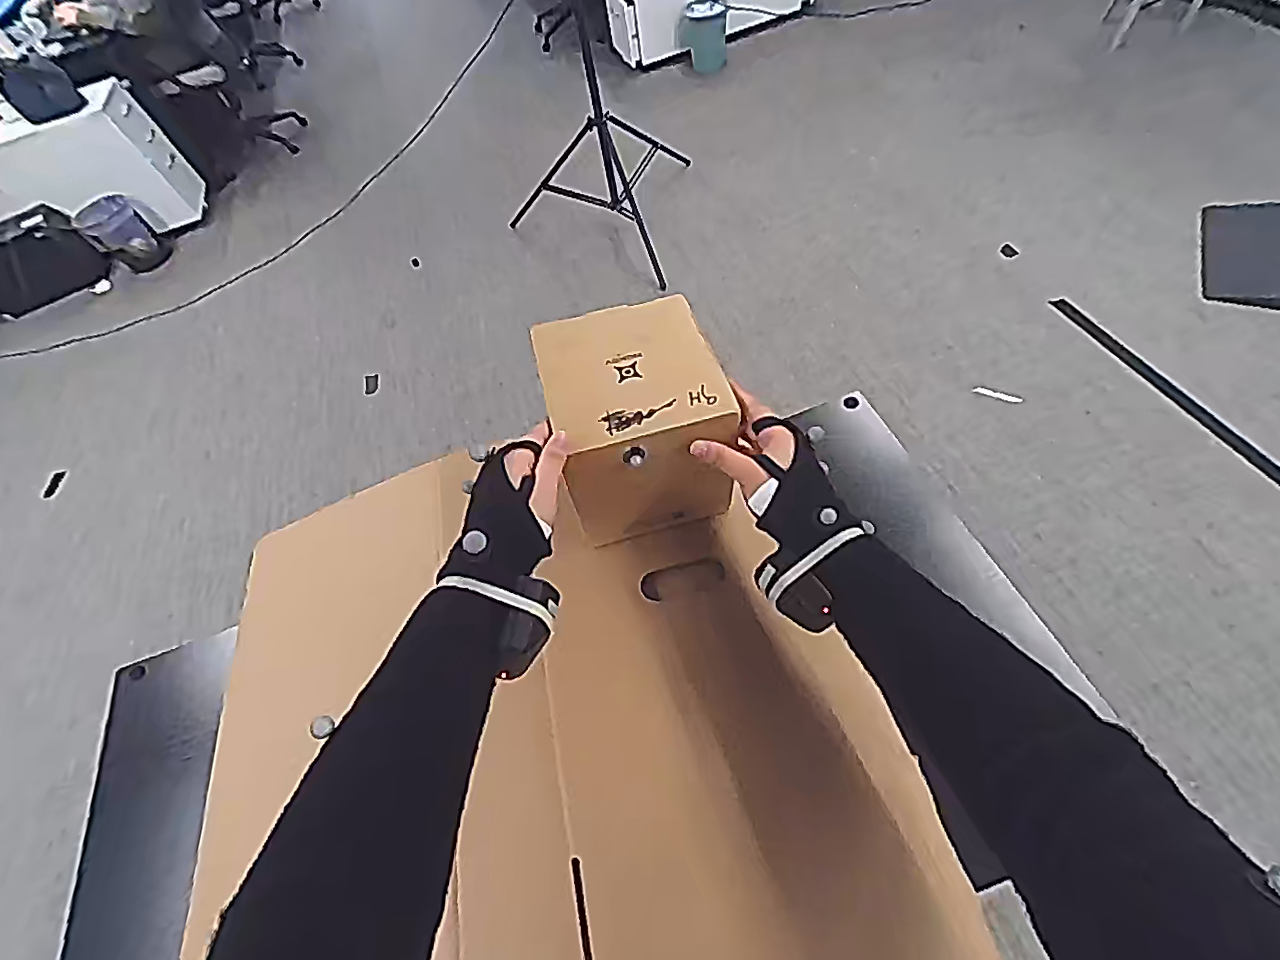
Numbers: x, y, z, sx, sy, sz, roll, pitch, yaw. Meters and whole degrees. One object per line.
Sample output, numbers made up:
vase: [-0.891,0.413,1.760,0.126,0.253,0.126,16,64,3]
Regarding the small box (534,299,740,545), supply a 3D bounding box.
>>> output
small box: [-0.005,-0.058,0.575,0.168,0.176,0.179,-15,55,-4]
